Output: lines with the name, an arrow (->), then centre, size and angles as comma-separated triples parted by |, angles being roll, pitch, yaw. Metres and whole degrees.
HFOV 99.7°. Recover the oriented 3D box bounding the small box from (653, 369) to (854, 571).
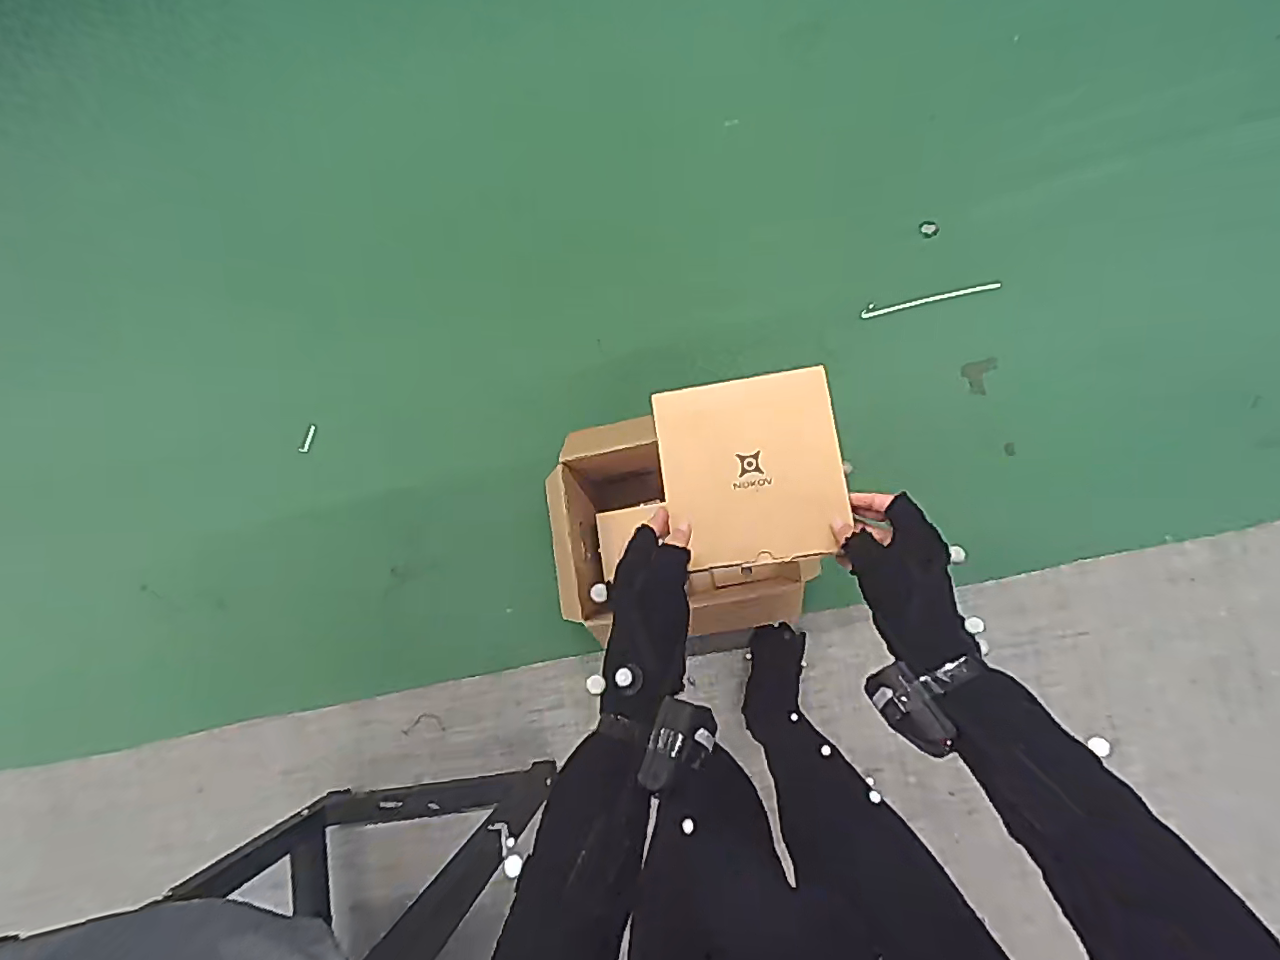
small box -> 0.112, 0.001, 0.585 | 0.168, 0.176, 0.179 | -9, 81, 7
